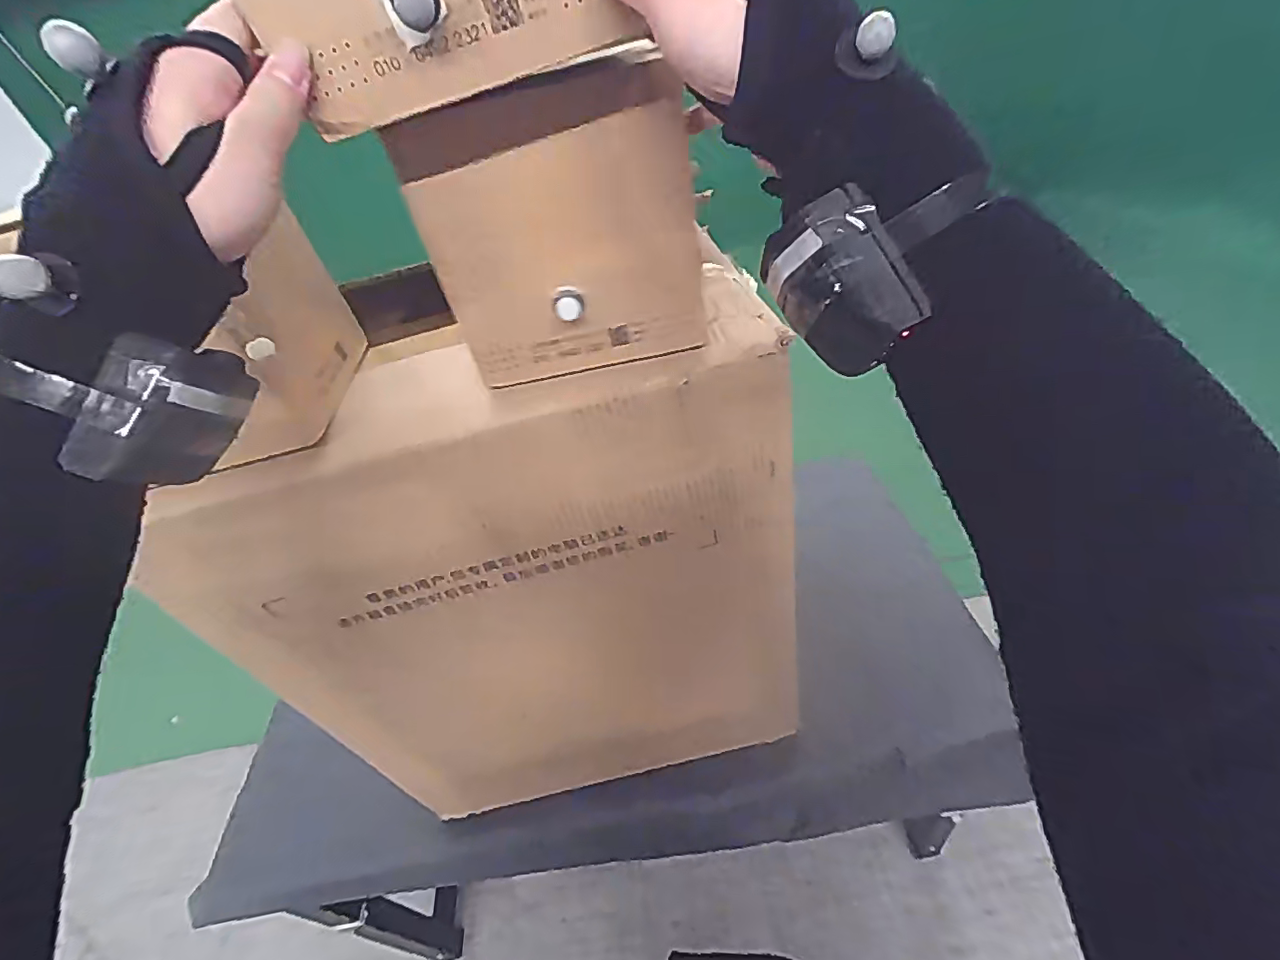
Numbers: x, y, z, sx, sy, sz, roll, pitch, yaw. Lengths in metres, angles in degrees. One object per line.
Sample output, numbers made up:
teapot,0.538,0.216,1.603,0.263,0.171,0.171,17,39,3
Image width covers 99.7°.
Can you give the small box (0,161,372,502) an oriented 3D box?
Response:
small box,-0.341,-0.107,0.402,0.179,0.176,0.168,-15,41,2
